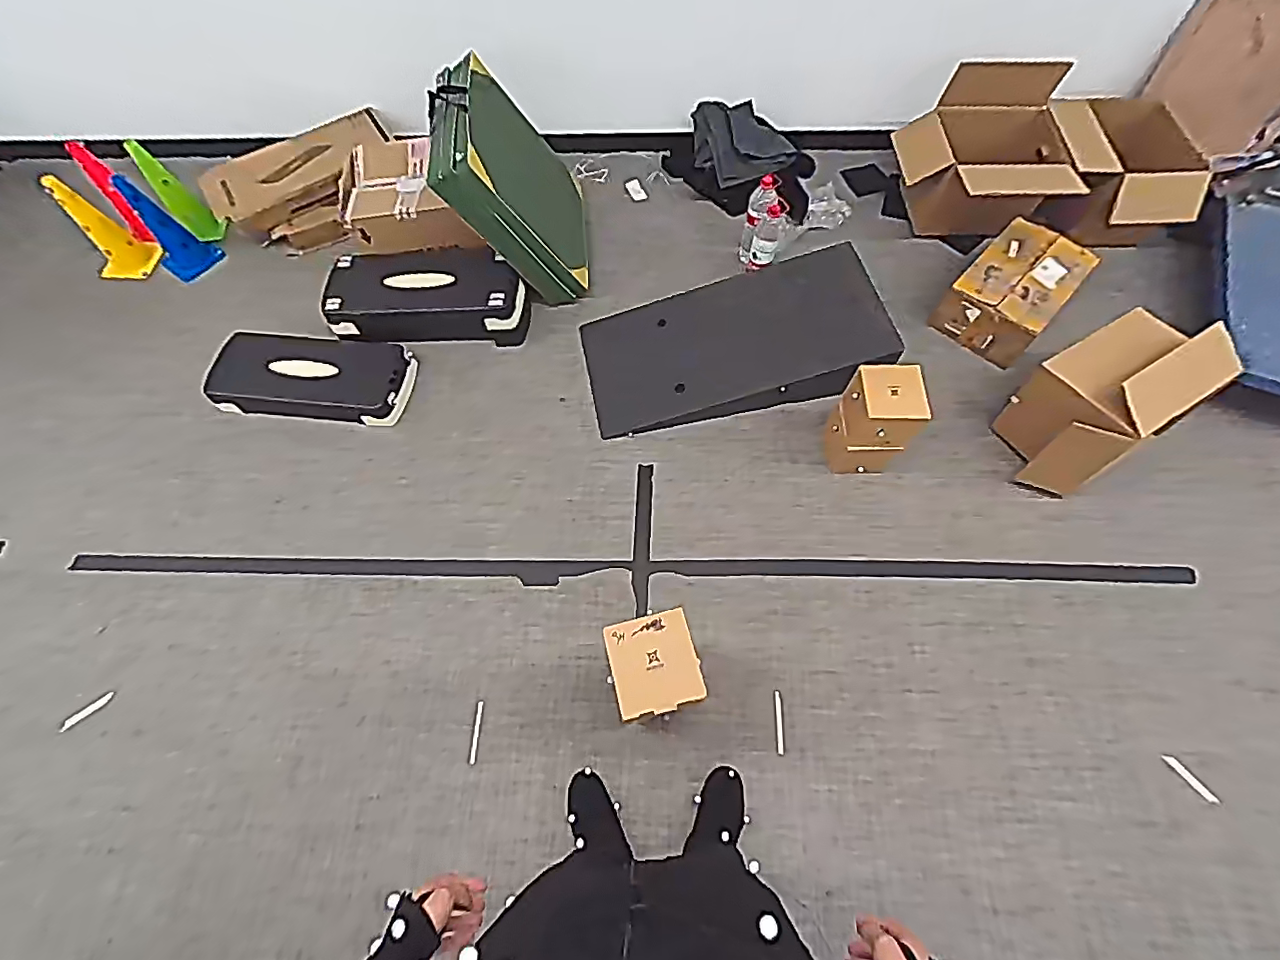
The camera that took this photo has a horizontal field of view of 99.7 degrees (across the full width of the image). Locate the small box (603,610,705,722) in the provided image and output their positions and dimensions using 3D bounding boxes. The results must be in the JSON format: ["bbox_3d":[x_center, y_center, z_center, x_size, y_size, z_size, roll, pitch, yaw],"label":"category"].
[{"bbox_3d":[0.027,0.384,1.107,0.168,0.176,0.179,-13,66,-5],"label":"small box"}]
